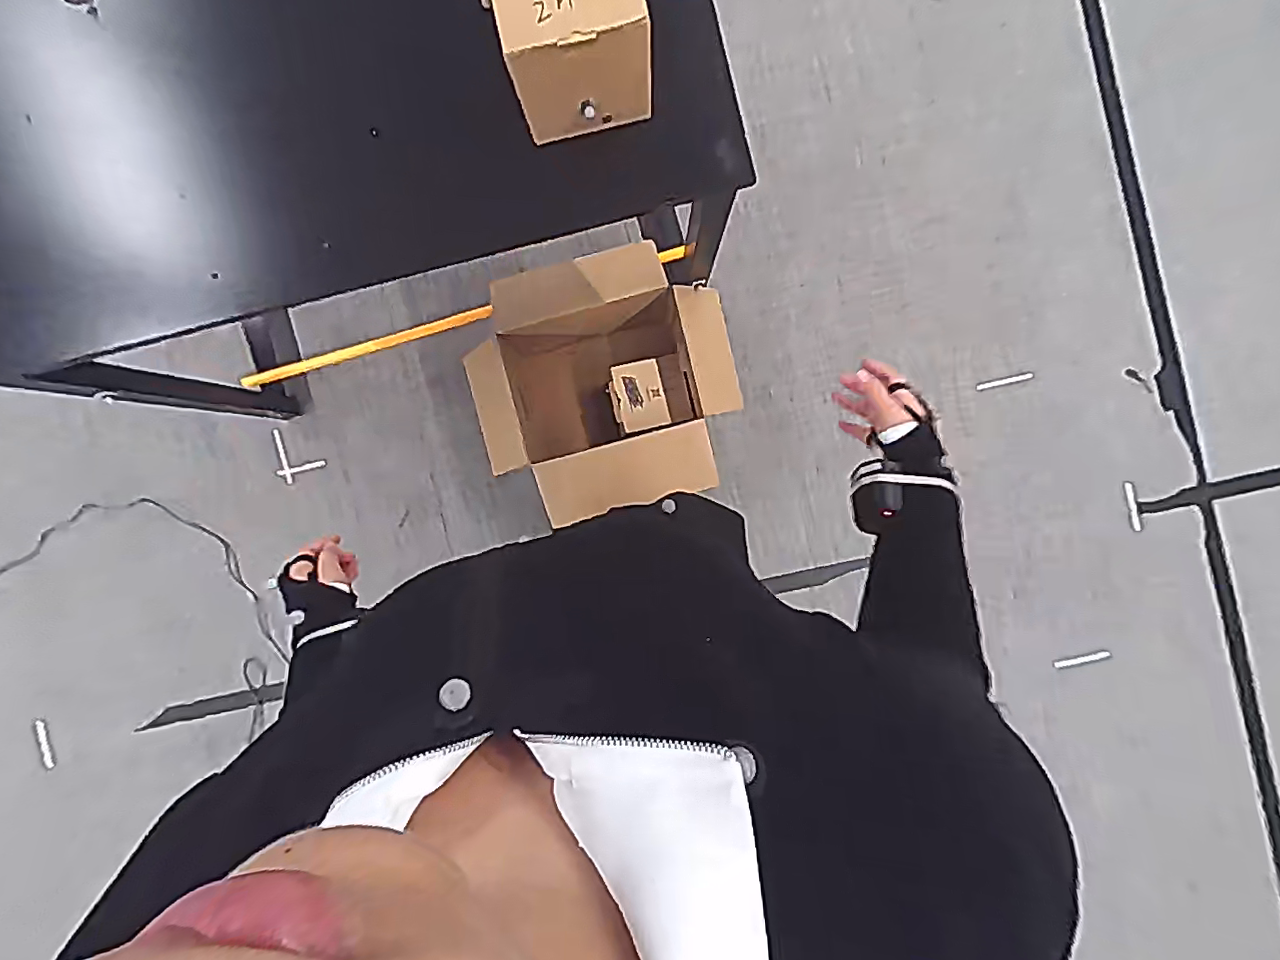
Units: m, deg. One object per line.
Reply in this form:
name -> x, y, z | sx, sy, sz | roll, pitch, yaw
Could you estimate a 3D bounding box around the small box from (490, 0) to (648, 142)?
small box -> -0.088, -0.564, 0.665 | 0.168, 0.176, 0.179 | -12, 91, 2
